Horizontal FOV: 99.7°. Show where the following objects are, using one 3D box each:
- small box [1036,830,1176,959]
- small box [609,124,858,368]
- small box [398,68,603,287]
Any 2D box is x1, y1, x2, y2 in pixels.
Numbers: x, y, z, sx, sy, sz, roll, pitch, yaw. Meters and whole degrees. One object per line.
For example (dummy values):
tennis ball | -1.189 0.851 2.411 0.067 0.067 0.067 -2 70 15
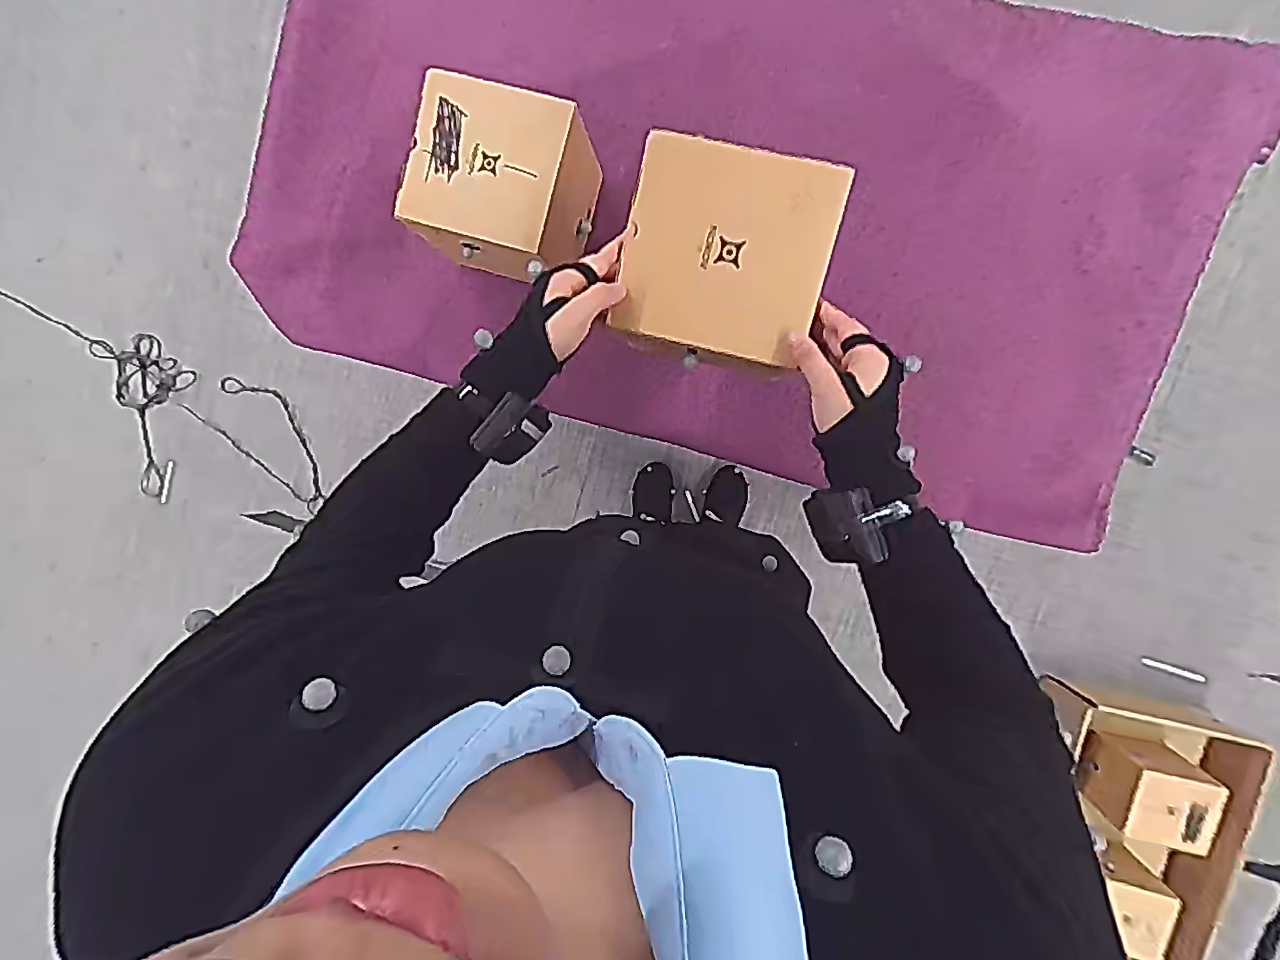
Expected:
small box | 1.114 0.993 1.311 0.179 0.176 0.168 13 96 5
small box | 0.086 -0.210 0.535 0.179 0.176 0.168 15 100 7
small box | -0.161 -0.358 0.674 0.179 0.176 0.168 17 96 4
